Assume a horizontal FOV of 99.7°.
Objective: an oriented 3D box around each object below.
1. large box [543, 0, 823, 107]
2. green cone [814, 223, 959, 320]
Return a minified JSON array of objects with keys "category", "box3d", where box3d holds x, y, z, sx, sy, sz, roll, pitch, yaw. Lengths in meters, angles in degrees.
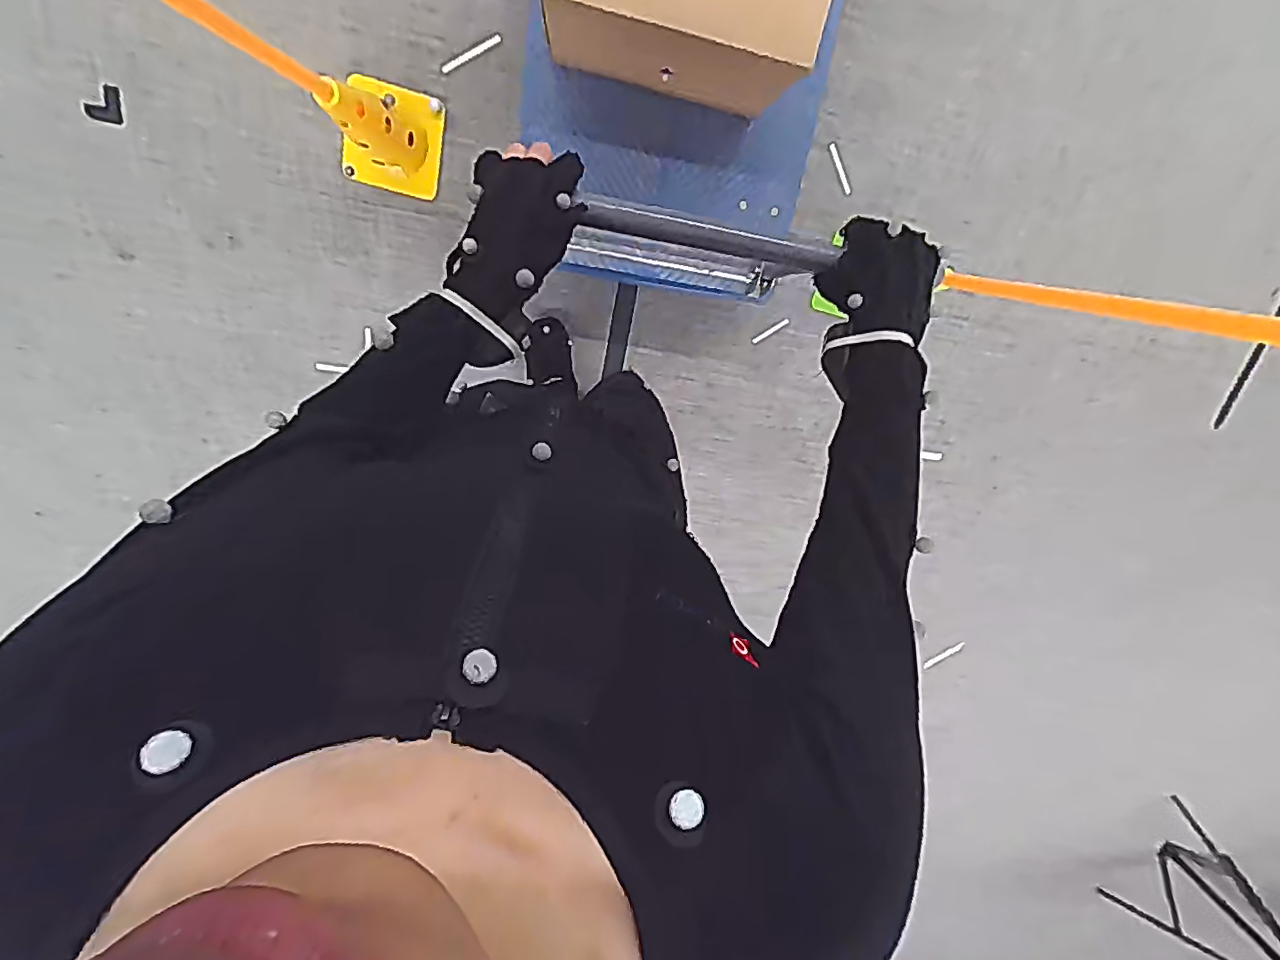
[{"category":"large box","box3d":[0.074,-0.845,0.862,0.408,0.320,0.320,9,112,-8]},{"category":"green cone","box3d":[0.580,-0.464,1.221,0.202,0.368,0.200,11,110,-11]}]
